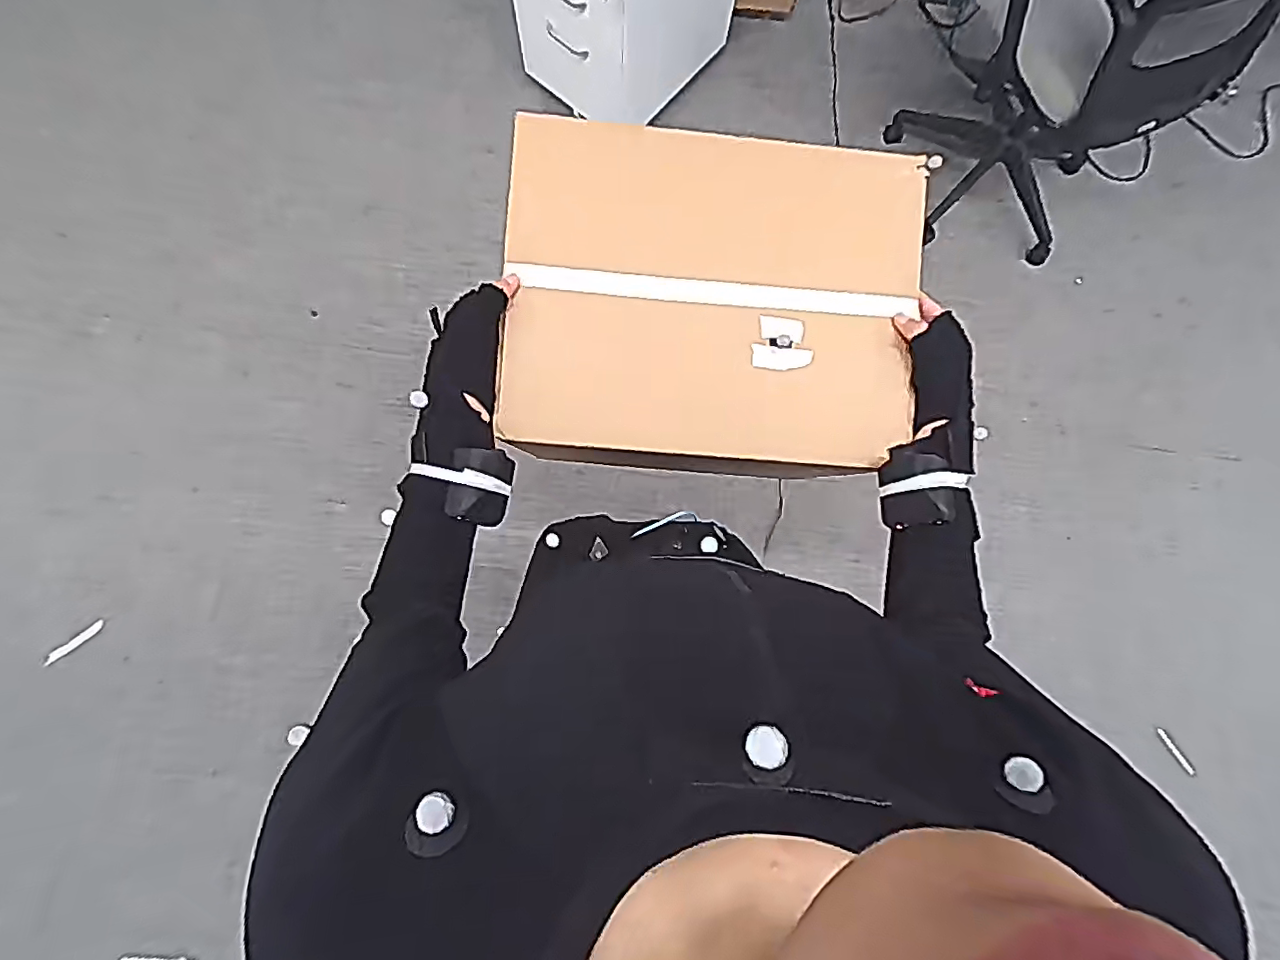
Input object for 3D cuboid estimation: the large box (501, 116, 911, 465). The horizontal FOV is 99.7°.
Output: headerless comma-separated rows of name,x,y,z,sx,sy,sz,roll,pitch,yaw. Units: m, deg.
large box,0.059,-0.189,0.684,0.408,0.320,0.320,5,90,-4
